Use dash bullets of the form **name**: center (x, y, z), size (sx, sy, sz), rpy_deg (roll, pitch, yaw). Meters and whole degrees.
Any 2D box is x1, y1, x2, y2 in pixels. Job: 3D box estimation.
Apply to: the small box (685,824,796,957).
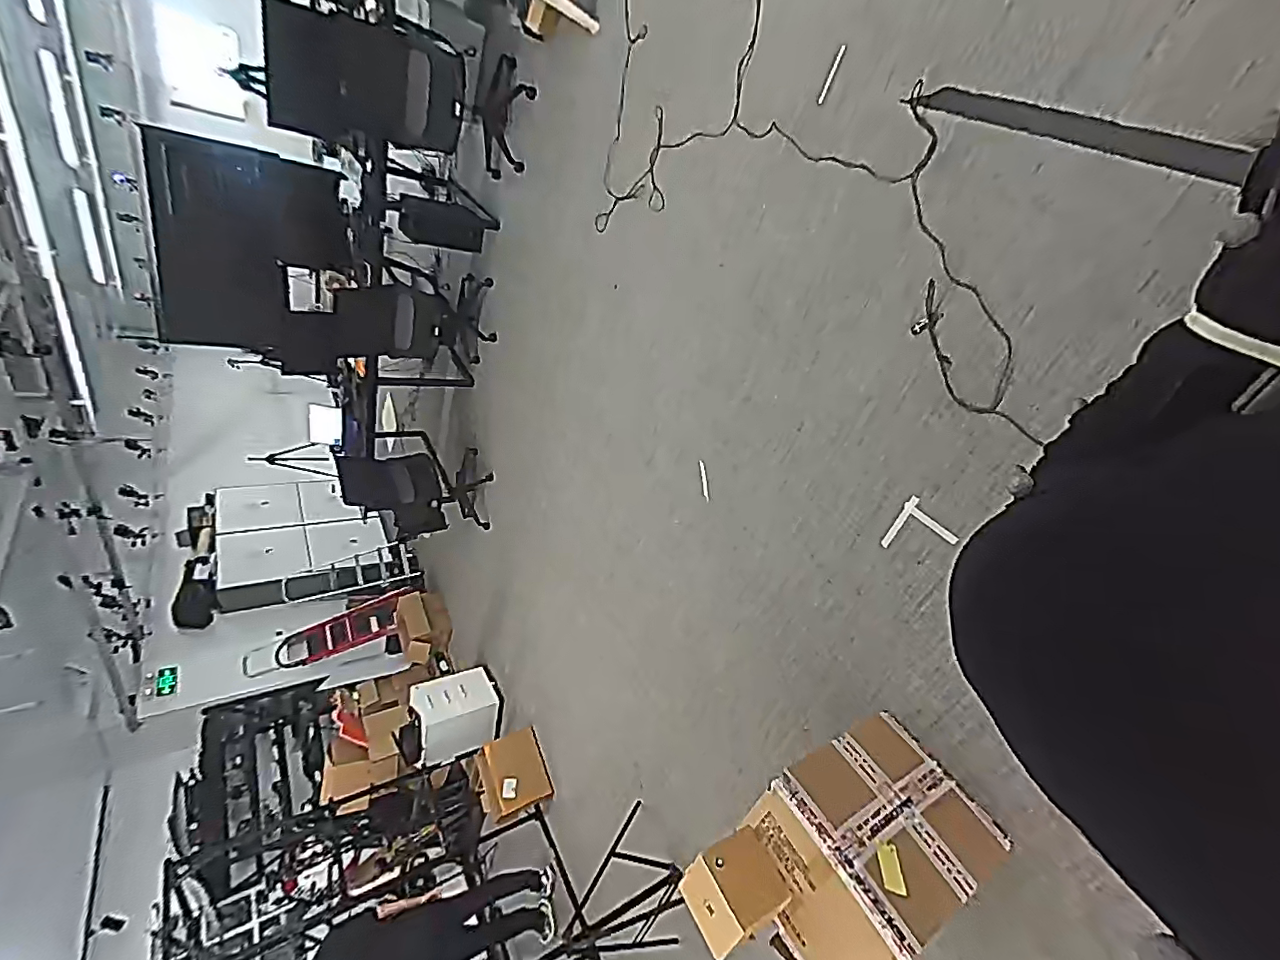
- **small box**: center (0.243, 0.982, 1.308), size (0.179, 0.176, 0.168), rpy_deg (49, 130, 43)
